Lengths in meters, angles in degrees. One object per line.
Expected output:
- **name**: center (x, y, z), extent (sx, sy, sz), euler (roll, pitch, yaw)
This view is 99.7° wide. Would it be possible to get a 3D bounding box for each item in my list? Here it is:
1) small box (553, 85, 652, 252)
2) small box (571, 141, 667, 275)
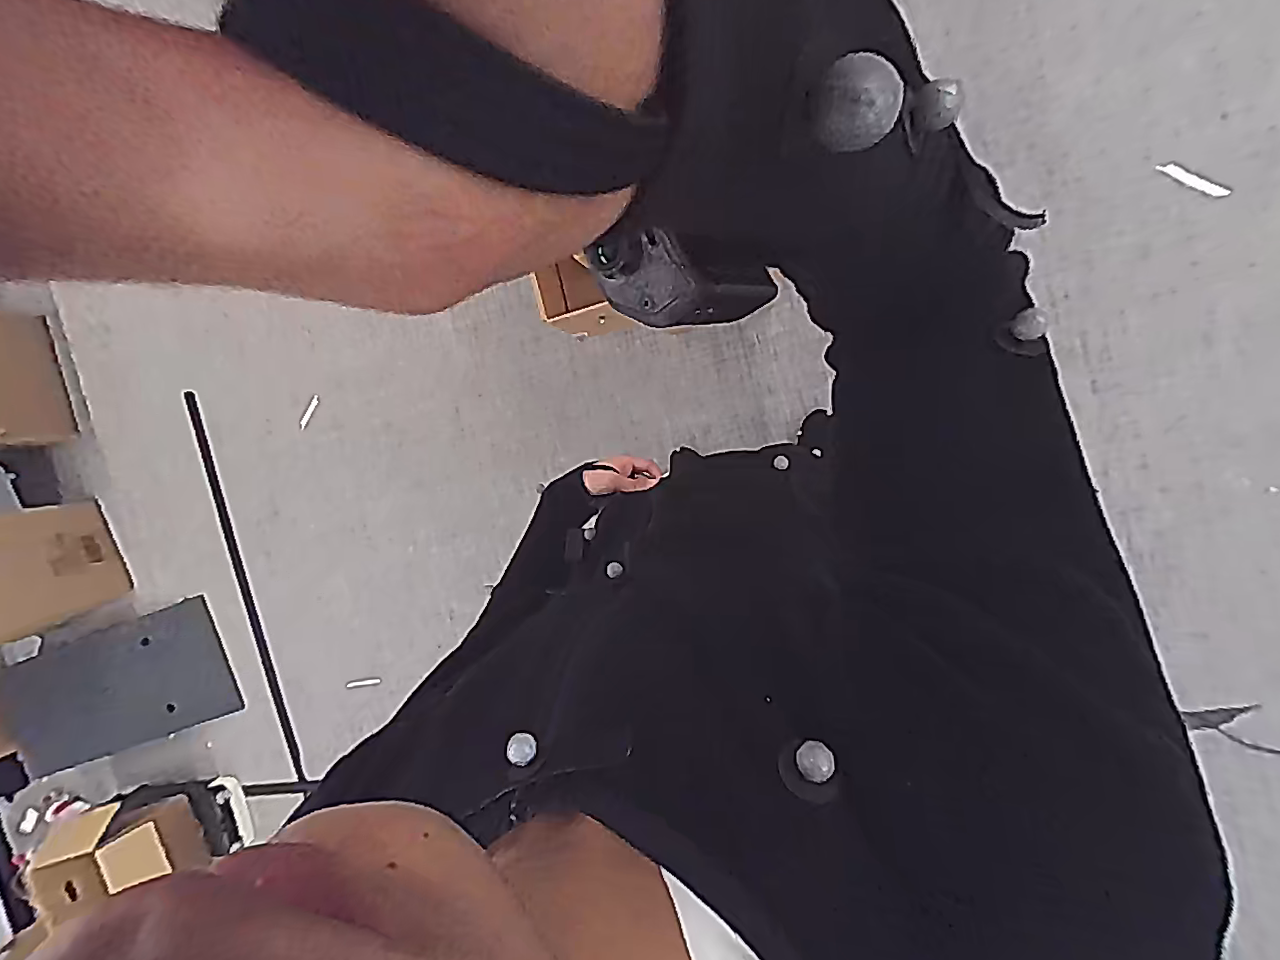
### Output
- **small box**: center (-0.091, -0.531, 0.949), extent (0.168, 0.176, 0.179), euler (-14, 94, 16)
- **small box**: center (-0.053, -0.547, 1.109), extent (0.168, 0.176, 0.179), euler (-13, 94, 16)
